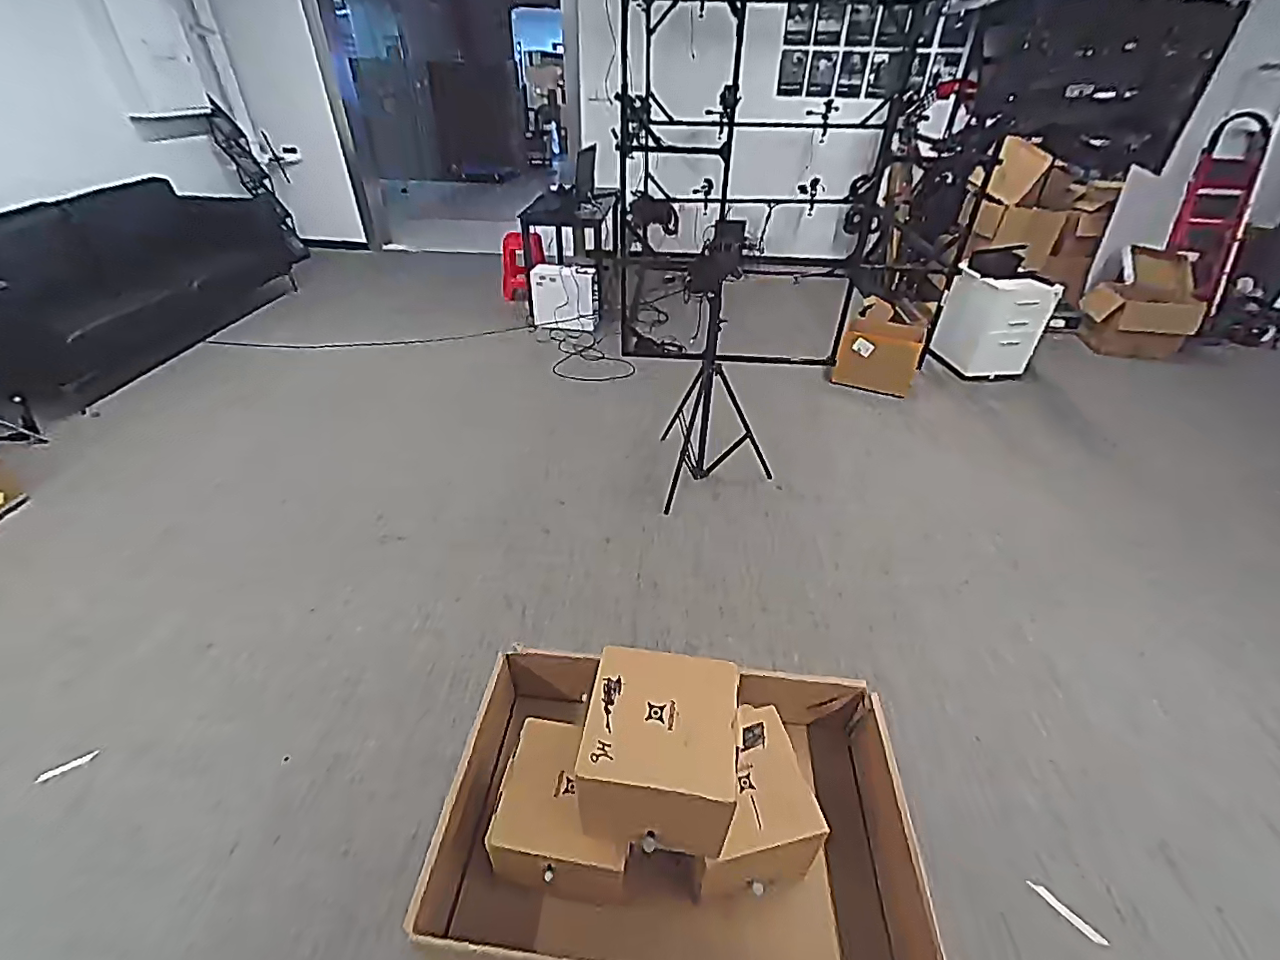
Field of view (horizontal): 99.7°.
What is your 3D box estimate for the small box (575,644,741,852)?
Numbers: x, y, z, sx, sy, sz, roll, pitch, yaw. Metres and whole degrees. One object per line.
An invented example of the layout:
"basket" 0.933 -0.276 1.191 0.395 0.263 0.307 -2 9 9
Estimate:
"small box" 0.025 0.335 0.675 0.179 0.176 0.168 7 38 6
